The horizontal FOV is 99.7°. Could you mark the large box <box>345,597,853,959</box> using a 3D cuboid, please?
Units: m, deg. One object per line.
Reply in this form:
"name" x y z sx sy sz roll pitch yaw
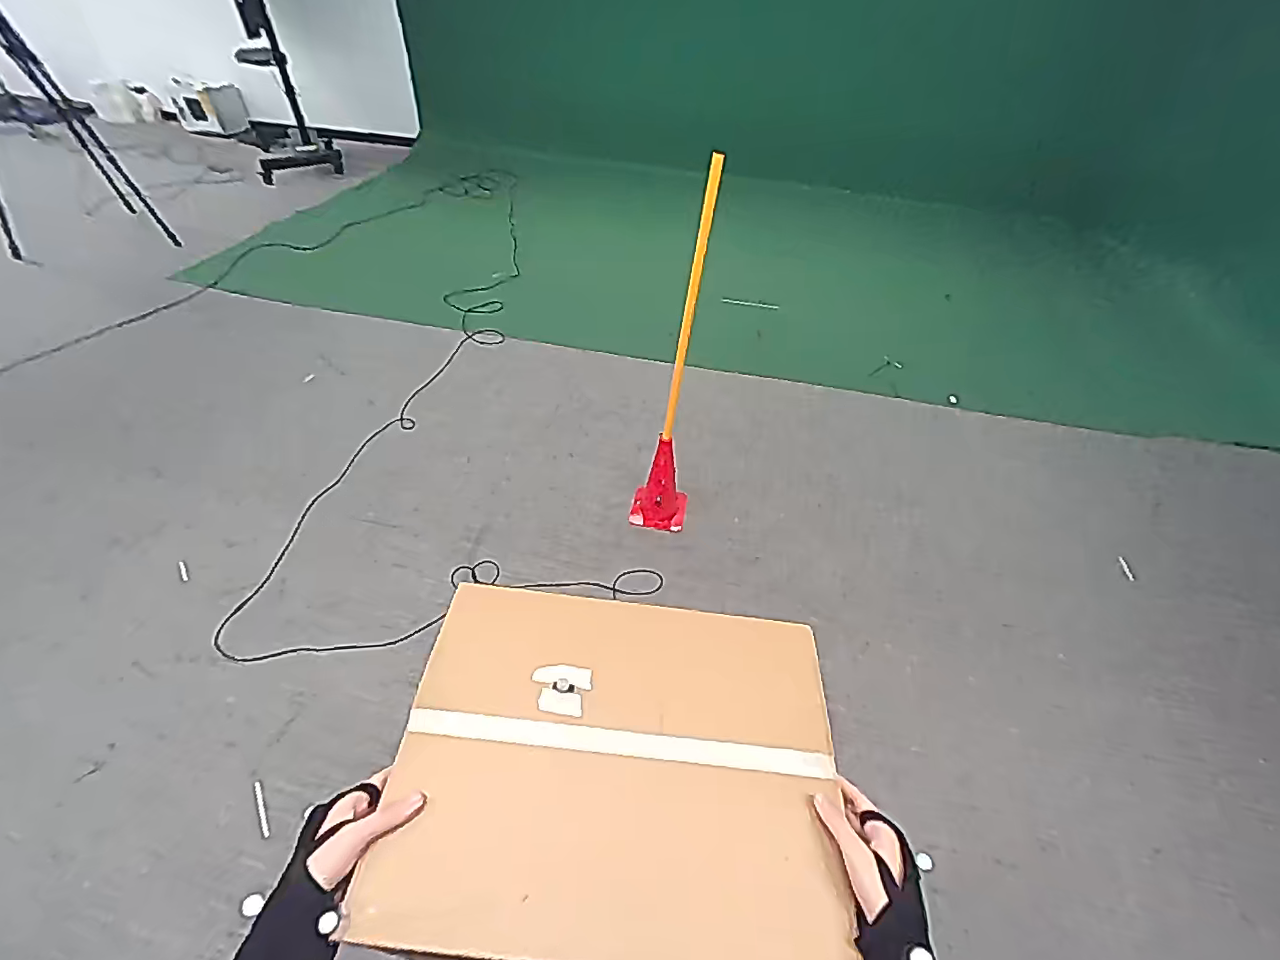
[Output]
"large box" -0.031 0.366 0.624 0.408 0.320 0.320 7 44 -1
